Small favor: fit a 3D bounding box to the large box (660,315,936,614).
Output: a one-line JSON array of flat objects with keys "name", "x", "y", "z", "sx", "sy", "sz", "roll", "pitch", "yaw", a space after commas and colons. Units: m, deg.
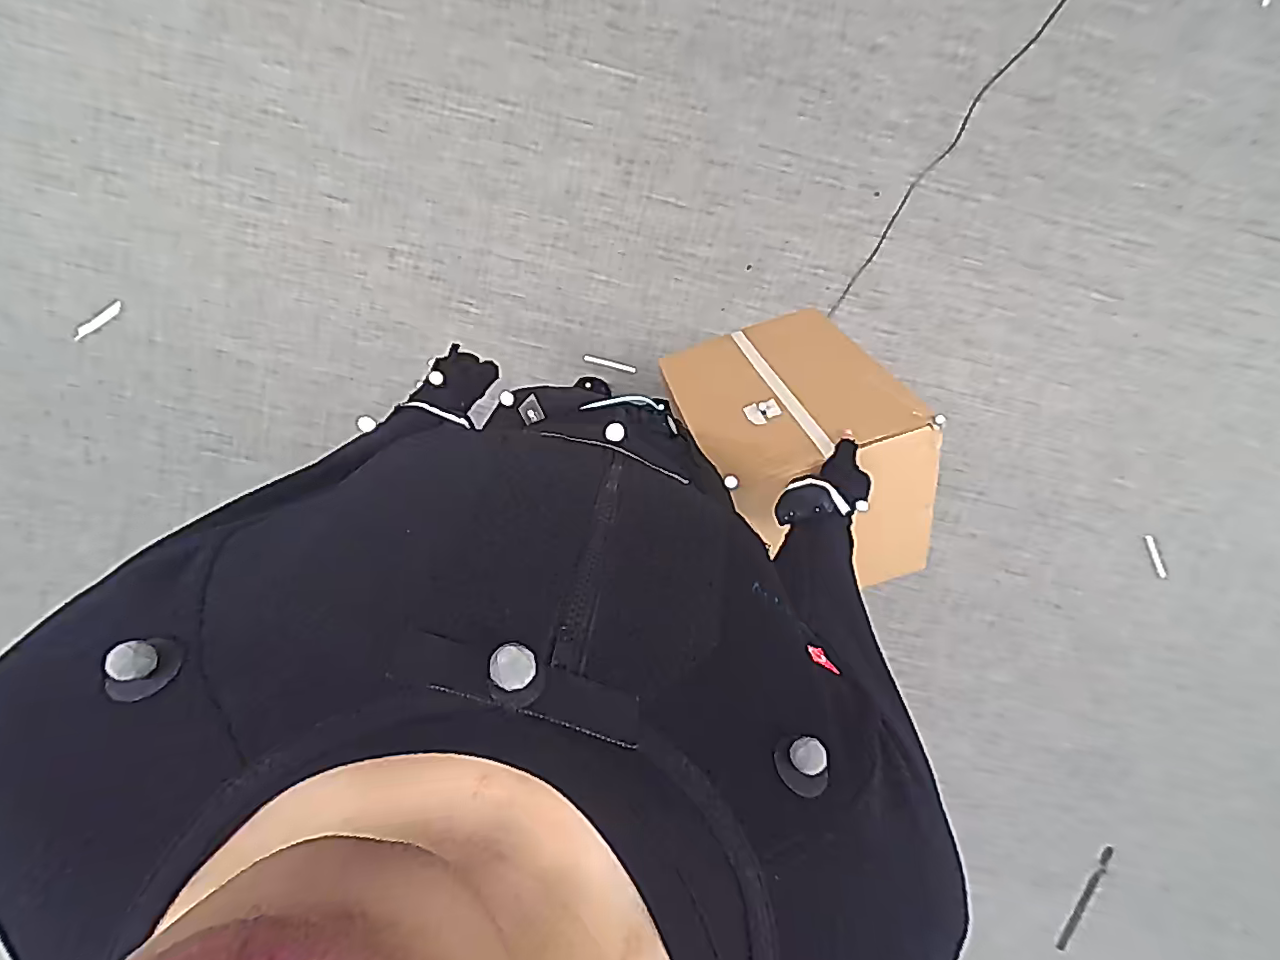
[{"name": "large box", "x": 0.254, "y": -0.039, "z": 0.979, "sx": 0.320, "sy": 0.408, "sz": 0.320, "roll": -18, "pitch": 131, "yaw": 2}]
